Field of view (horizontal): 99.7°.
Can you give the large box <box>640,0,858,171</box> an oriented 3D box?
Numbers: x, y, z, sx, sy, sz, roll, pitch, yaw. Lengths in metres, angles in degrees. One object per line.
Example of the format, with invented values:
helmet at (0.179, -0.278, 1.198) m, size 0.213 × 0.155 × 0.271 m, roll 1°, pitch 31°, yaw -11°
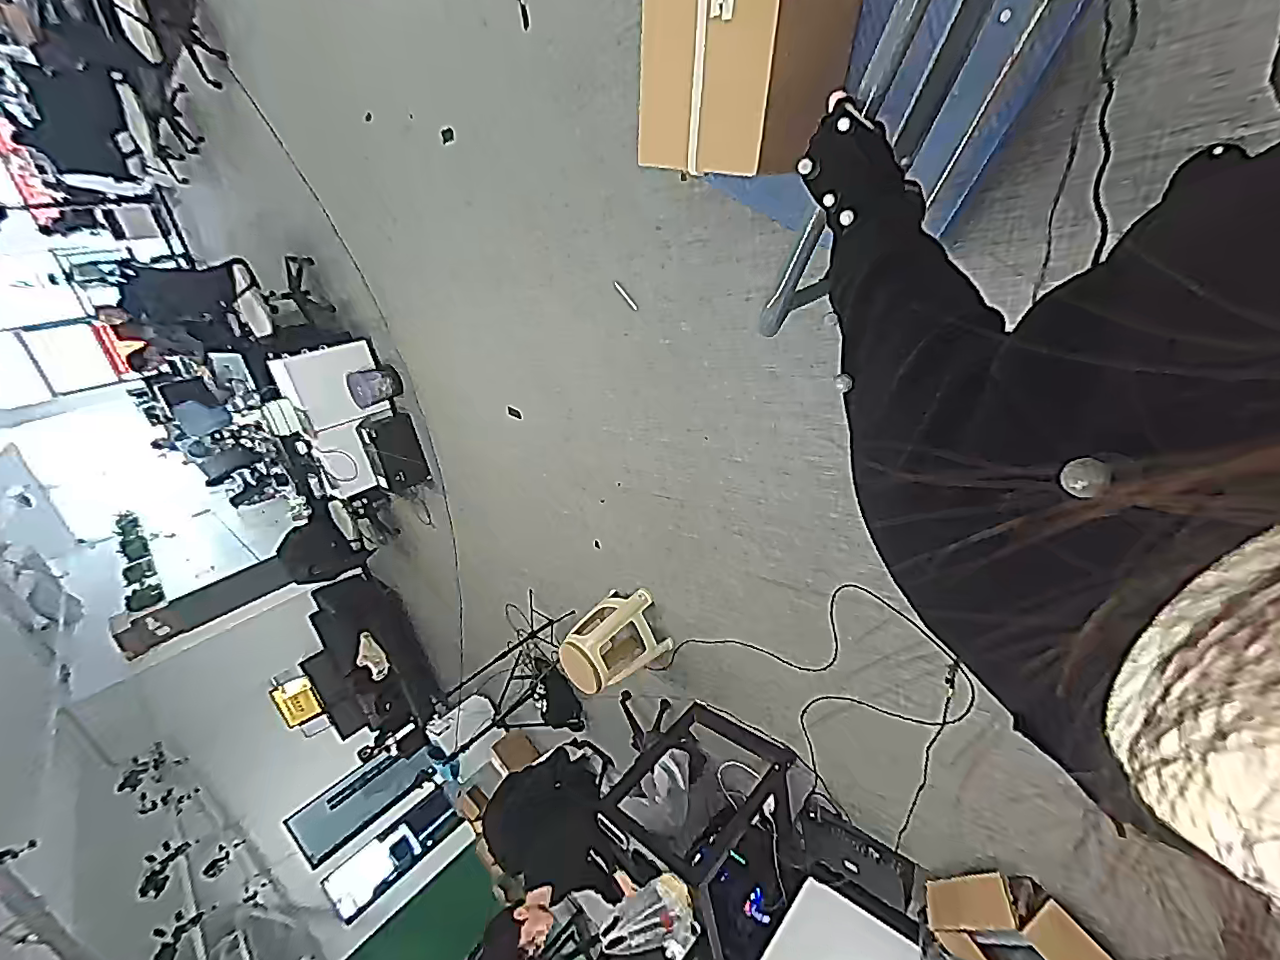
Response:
large box at (0.218, -0.871, 1.107) m, size 0.320 × 0.320 × 0.408 m, roll 27°, pitch 131°, yaw 33°
